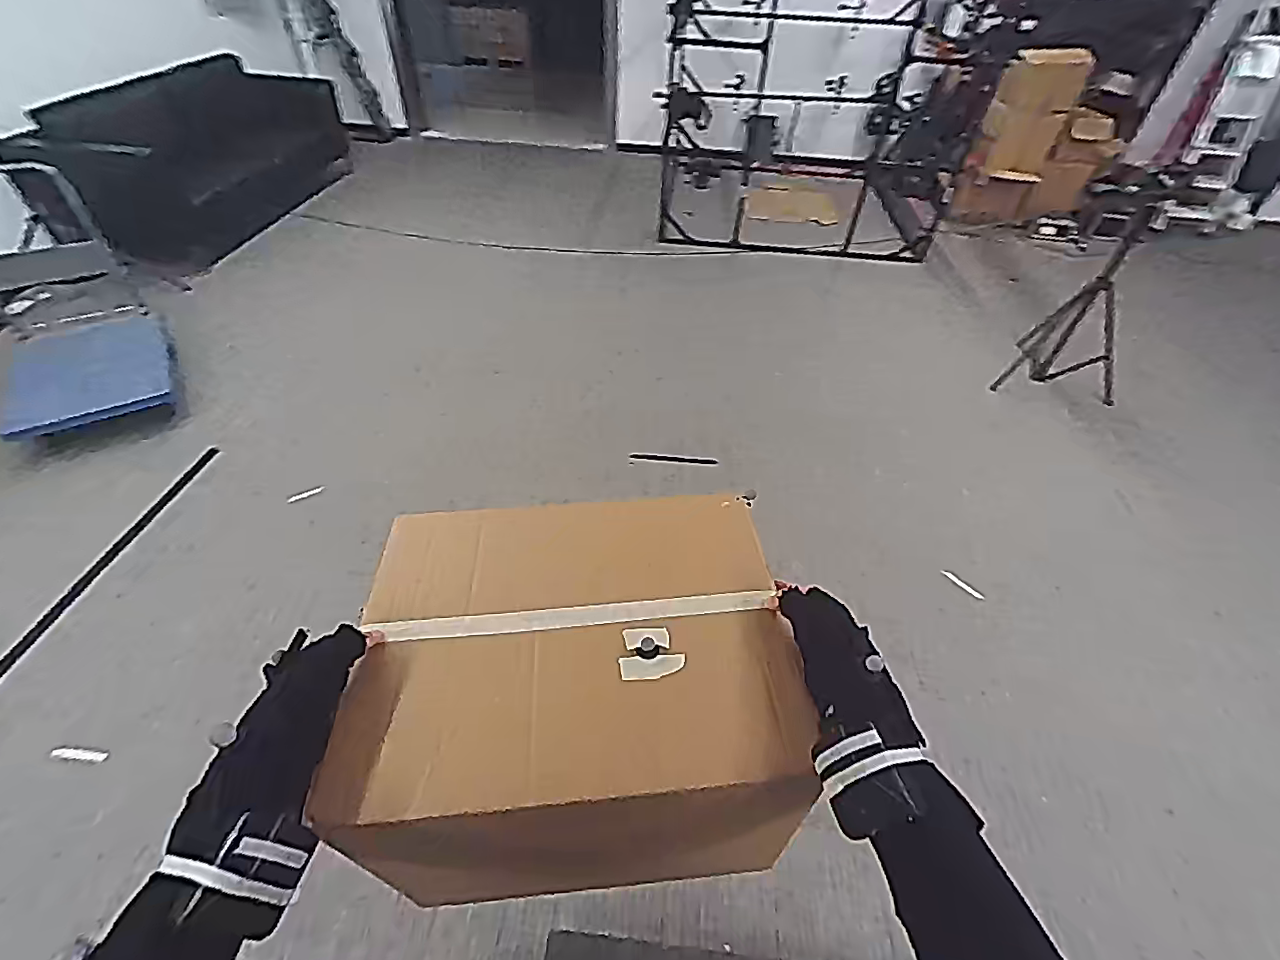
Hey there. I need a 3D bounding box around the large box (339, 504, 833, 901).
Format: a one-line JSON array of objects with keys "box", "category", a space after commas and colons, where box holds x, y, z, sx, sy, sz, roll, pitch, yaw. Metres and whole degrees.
[{"box": [-0.052, 0.253, 0.636, 0.408, 0.320, 0.320, -3, 43, -4], "category": "large box"}]
